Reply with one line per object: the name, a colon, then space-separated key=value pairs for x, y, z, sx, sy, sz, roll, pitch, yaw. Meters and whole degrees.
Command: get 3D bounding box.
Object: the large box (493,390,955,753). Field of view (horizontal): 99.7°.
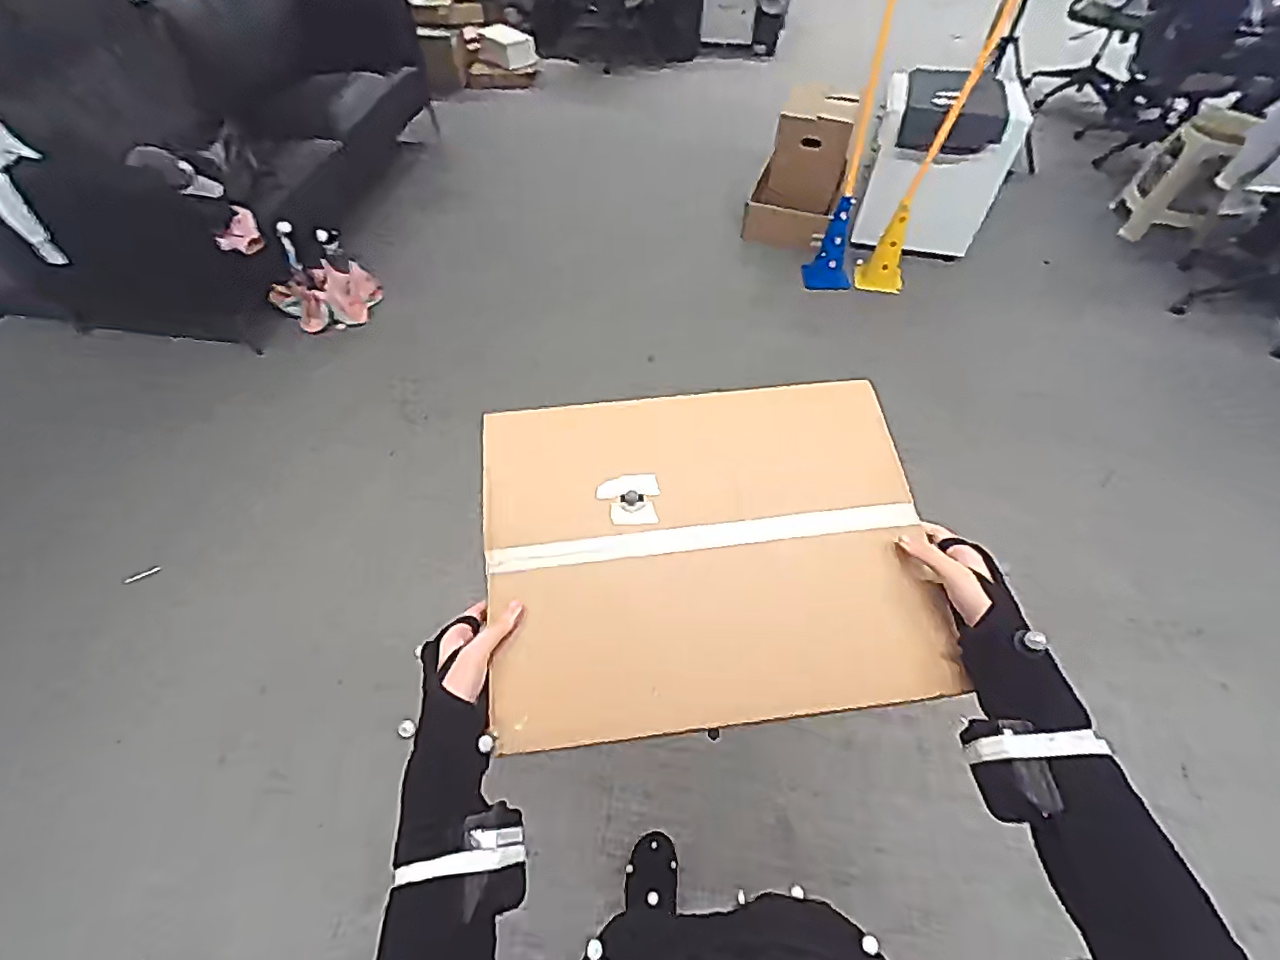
large box: x=0.062 y=0.121 z=0.653 sx=0.408 sy=0.320 sz=0.320 roll=-6 pitch=66 yaw=-3
